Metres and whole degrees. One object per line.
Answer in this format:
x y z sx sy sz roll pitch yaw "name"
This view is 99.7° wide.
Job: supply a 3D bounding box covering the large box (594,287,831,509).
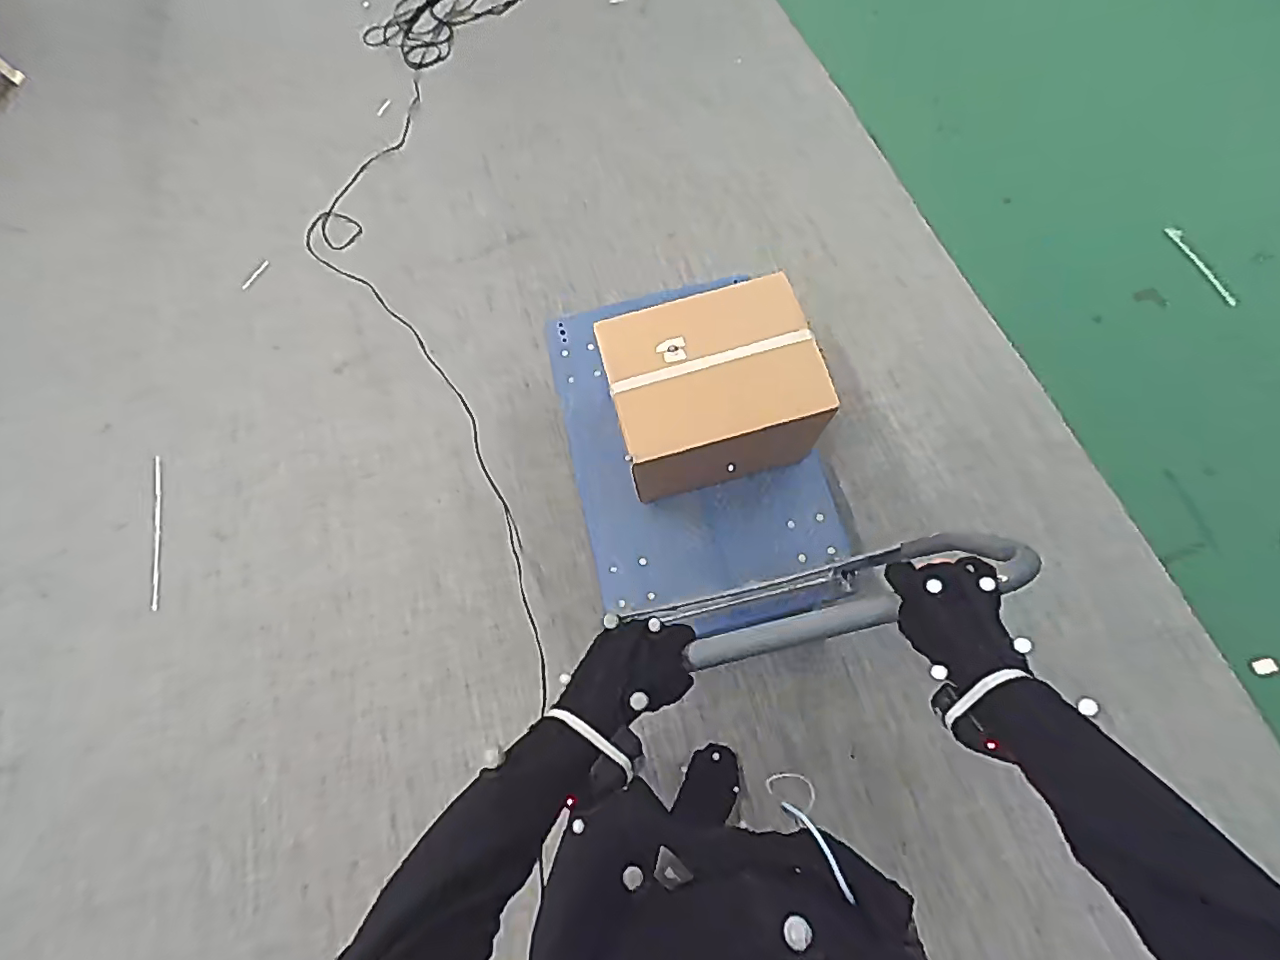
0.147 -0.161 1.205 0.408 0.320 0.320 -16 72 0 "large box"
